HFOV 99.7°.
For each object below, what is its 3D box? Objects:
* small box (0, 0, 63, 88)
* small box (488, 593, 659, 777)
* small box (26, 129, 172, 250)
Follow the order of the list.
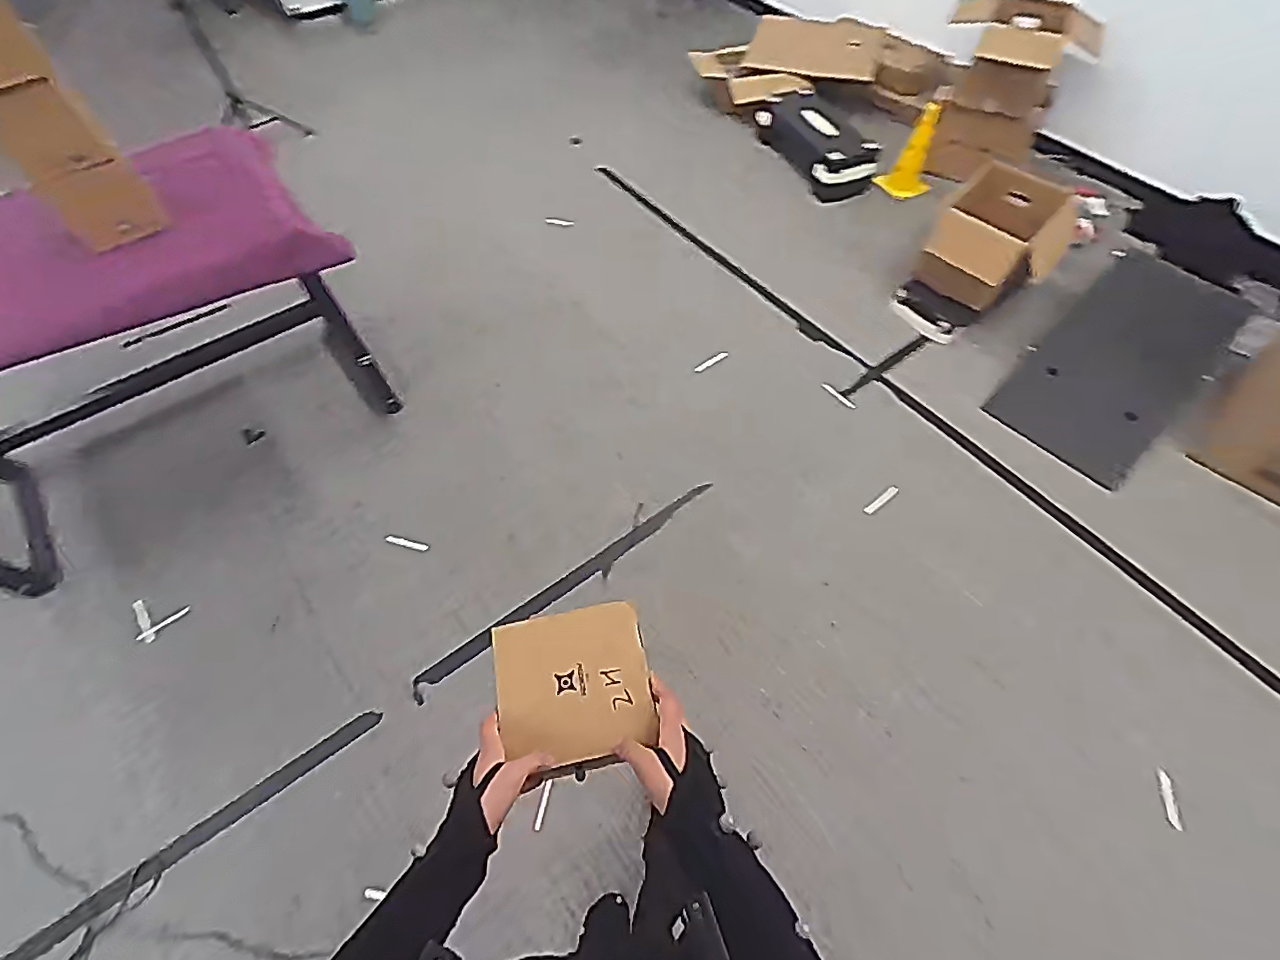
[{"bbox_3d":[-1.244,-0.844,0.993,0.179,0.176,0.168,-39,66,-21],"label":"small box"},{"bbox_3d":[-0.077,0.261,0.675,0.179,0.176,0.168,-11,61,-6],"label":"small box"},{"bbox_3d":[-1.264,-0.684,1.280,0.179,0.176,0.168,-36,65,-20],"label":"small box"}]
